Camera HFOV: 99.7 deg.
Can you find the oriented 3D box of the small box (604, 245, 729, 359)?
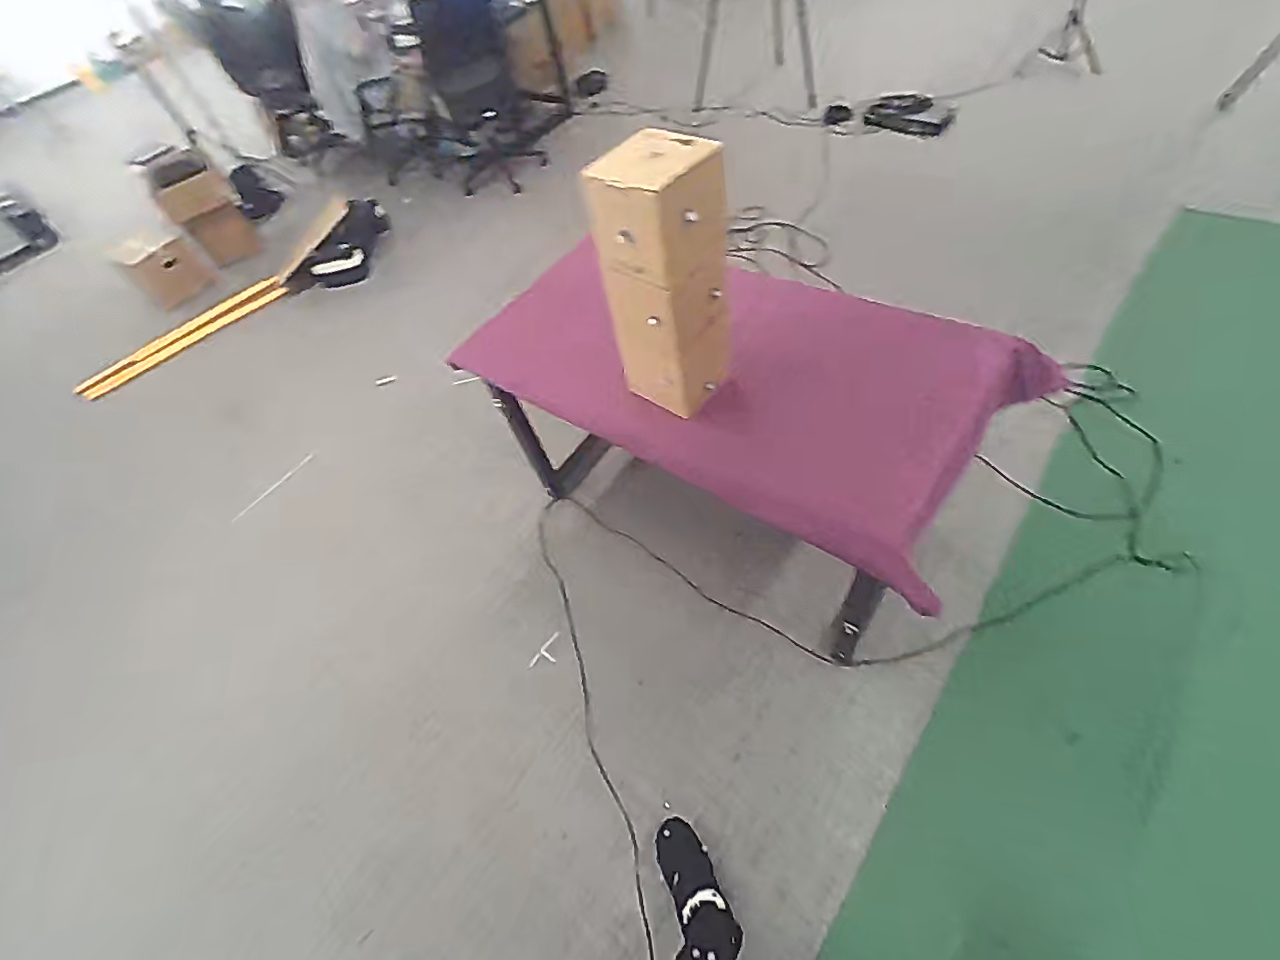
[{"bbox_3d":[0.061,-0.365,1.066,0.179,0.176,0.168,32,66,30],"label":"small box"}]

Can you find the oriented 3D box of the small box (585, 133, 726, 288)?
[{"bbox_3d":[0.038,-0.465,0.939,0.168,0.176,0.179,33,67,29],"label":"small box"}]
